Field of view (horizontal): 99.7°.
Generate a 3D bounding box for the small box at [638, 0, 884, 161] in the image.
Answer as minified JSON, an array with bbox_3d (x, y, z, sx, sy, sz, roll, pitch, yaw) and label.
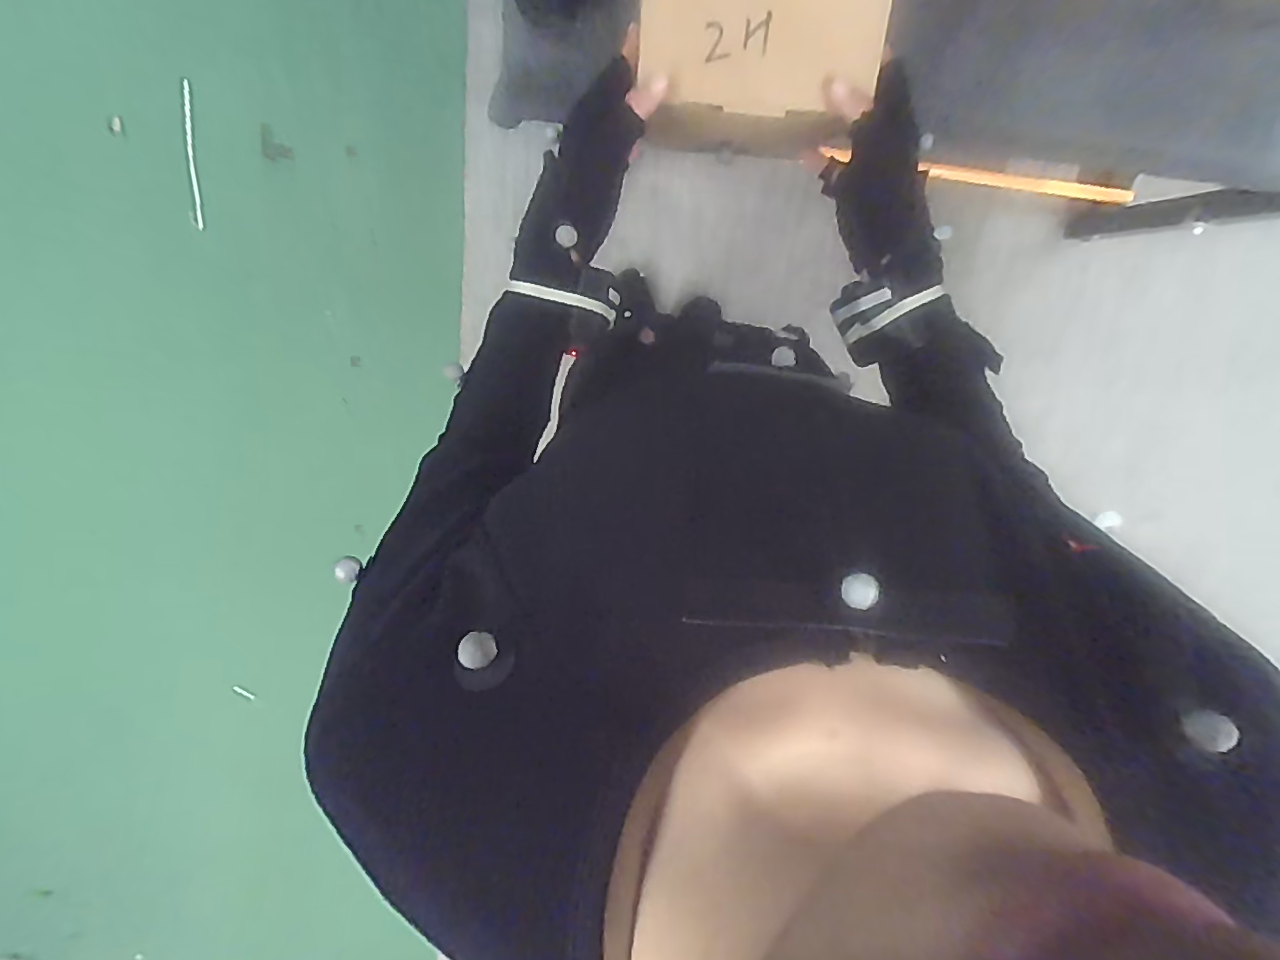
[{"bbox_3d":[0.085,-0.377,0.433,0.168,0.176,0.179,3,111,-1],"label":"small box"}]
